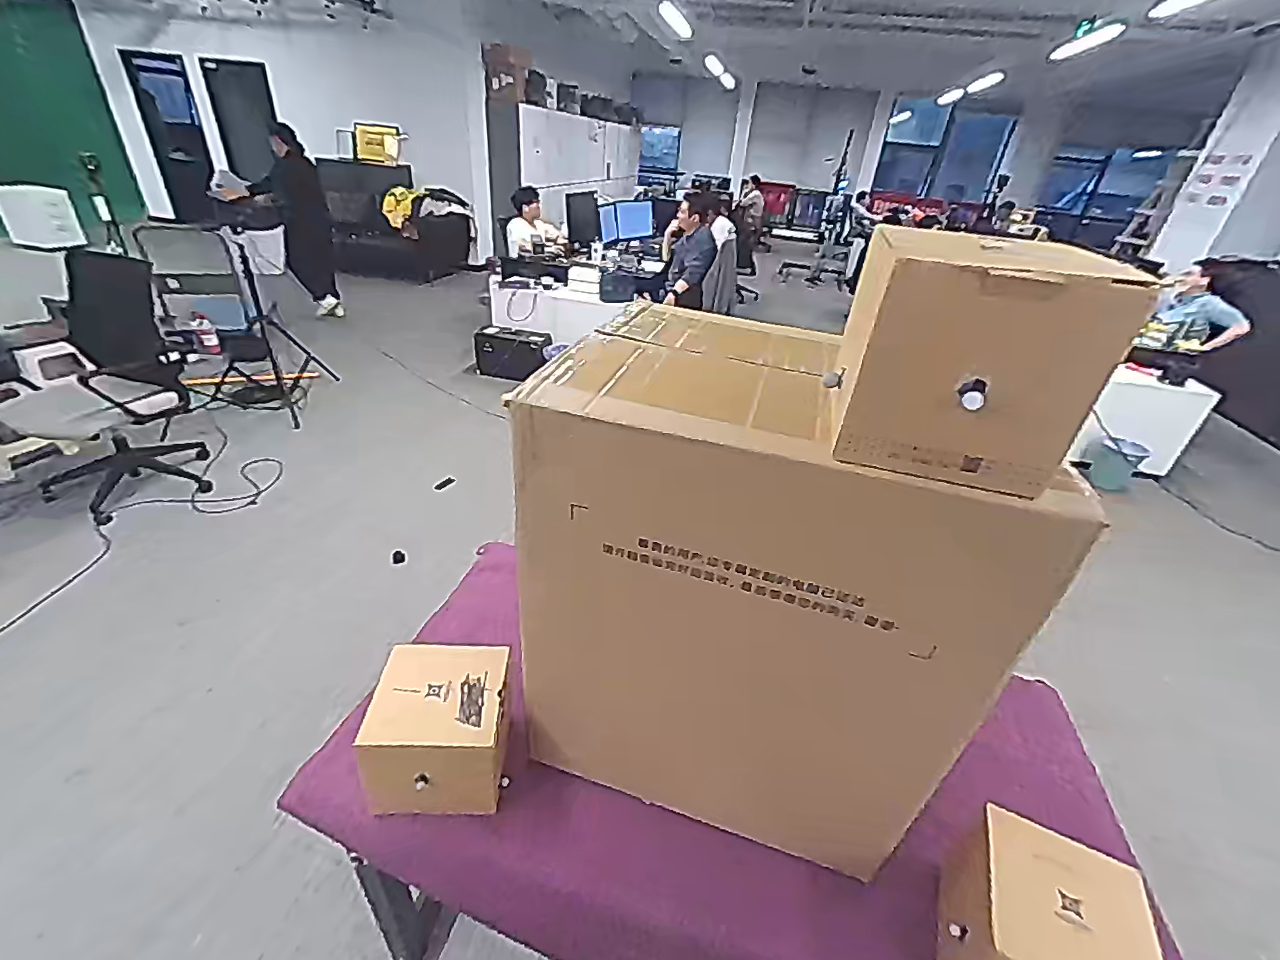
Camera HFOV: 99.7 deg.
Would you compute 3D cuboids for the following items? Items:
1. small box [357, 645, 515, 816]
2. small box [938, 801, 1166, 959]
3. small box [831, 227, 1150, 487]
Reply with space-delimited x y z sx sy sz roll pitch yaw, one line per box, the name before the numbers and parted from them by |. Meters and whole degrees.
small box | -0.284 0.367 0.796 0.179 0.176 0.168 3 31 -6
small box | 0.470 0.539 0.637 0.168 0.176 0.179 19 32 20
small box | 0.273 -0.114 0.476 0.168 0.176 0.179 12 34 11
